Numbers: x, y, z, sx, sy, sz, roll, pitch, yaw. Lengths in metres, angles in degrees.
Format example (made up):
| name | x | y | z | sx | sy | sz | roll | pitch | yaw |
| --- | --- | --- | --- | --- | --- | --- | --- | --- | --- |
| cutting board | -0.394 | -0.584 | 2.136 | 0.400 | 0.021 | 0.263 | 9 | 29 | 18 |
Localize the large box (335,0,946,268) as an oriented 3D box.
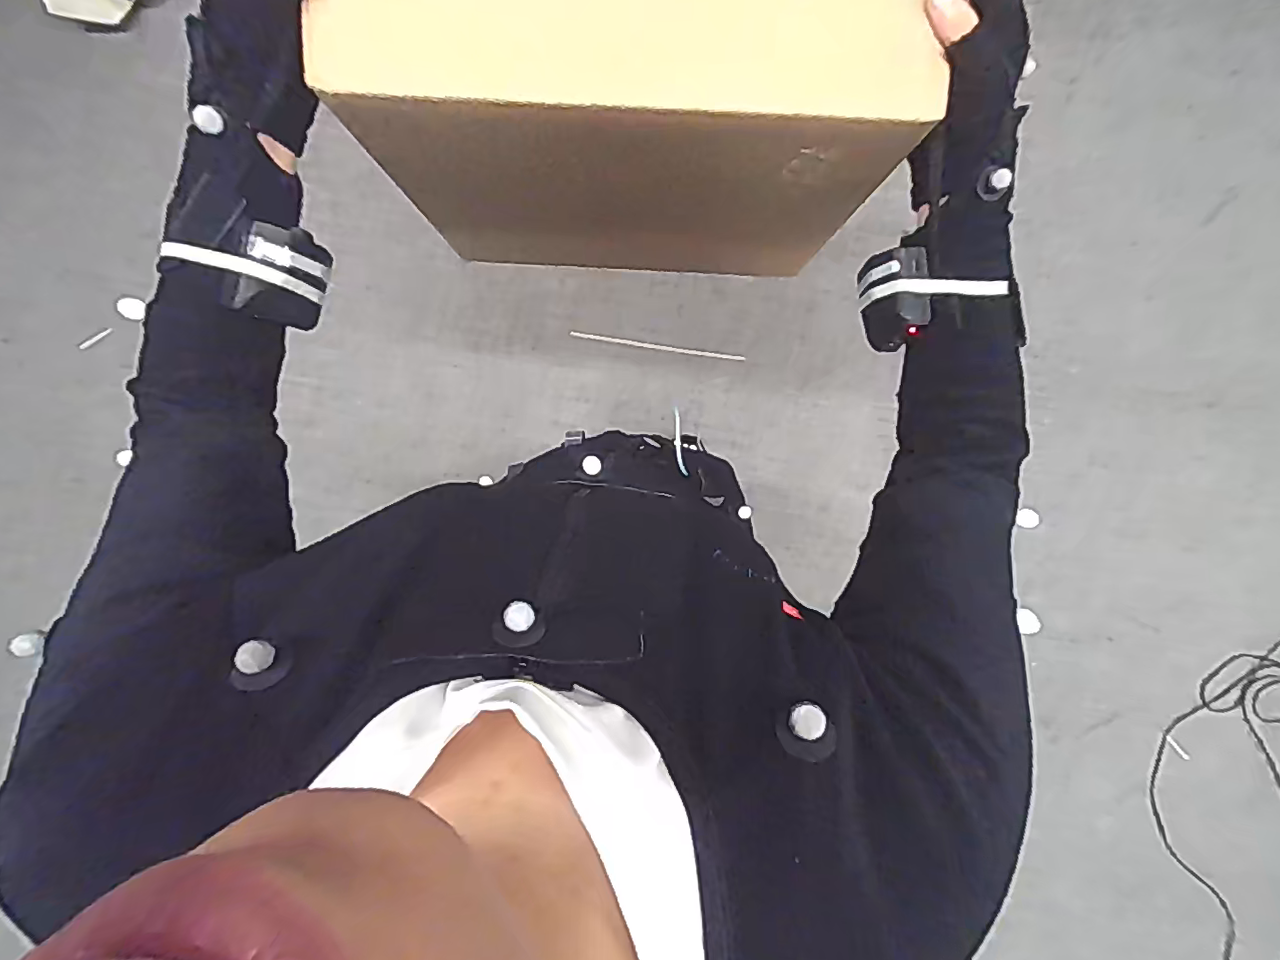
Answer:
| name | x | y | z | sx | sy | sz | roll | pitch | yaw |
| --- | --- | --- | --- | --- | --- | --- | --- | --- | --- |
| large box | 0.000 | -0.404 | 0.496 | 0.408 | 0.320 | 0.320 | 2 | 93 | -2 |
